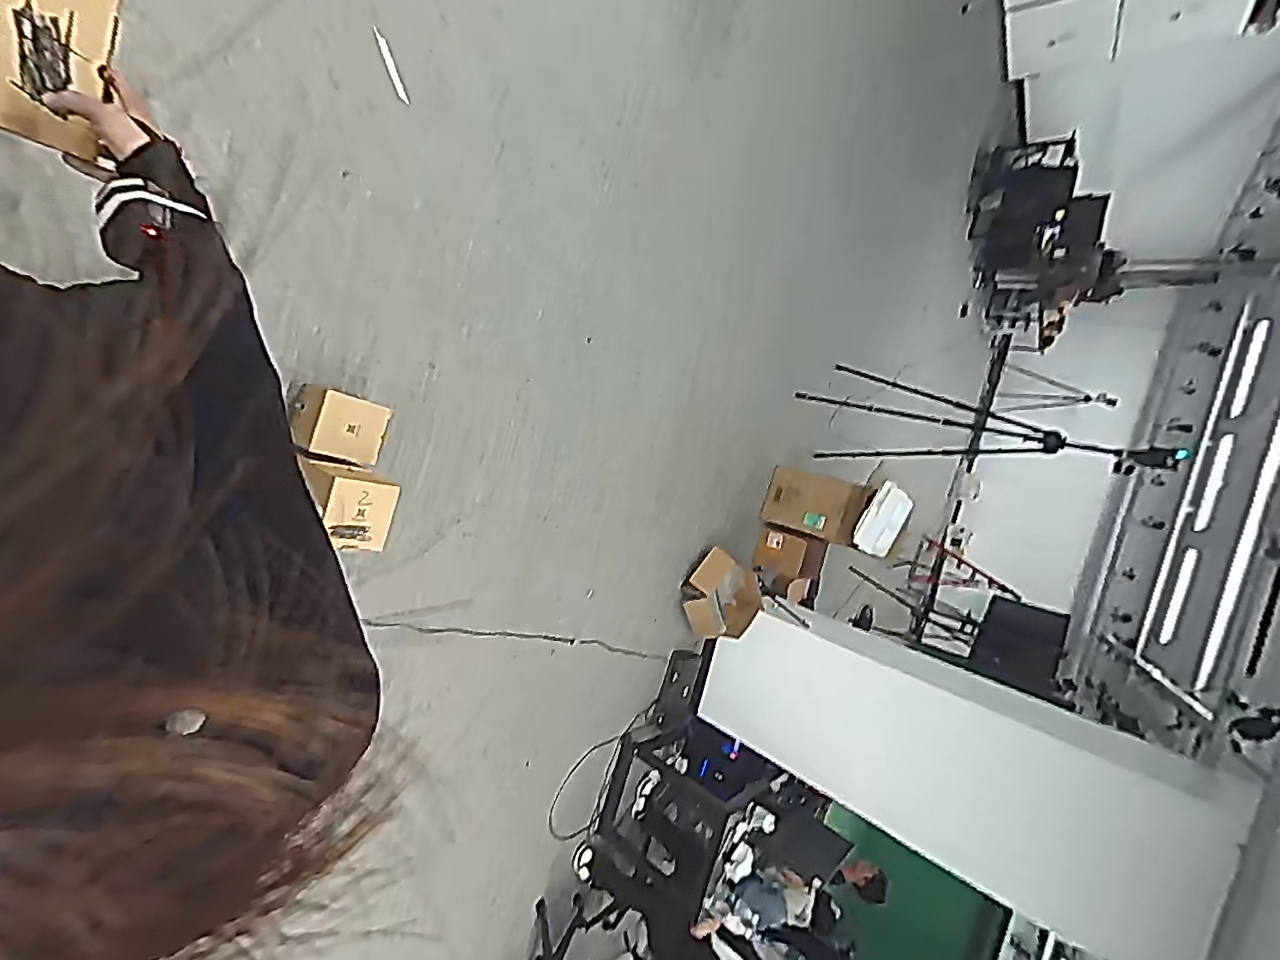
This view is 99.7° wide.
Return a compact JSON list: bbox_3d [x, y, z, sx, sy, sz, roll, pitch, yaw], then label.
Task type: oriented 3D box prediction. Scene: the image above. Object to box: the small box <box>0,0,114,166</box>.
[{"bbox_3d":[-0.619,-0.418,0.496,0.179,0.176,0.168,7,107,-48],"label":"small box"}]
